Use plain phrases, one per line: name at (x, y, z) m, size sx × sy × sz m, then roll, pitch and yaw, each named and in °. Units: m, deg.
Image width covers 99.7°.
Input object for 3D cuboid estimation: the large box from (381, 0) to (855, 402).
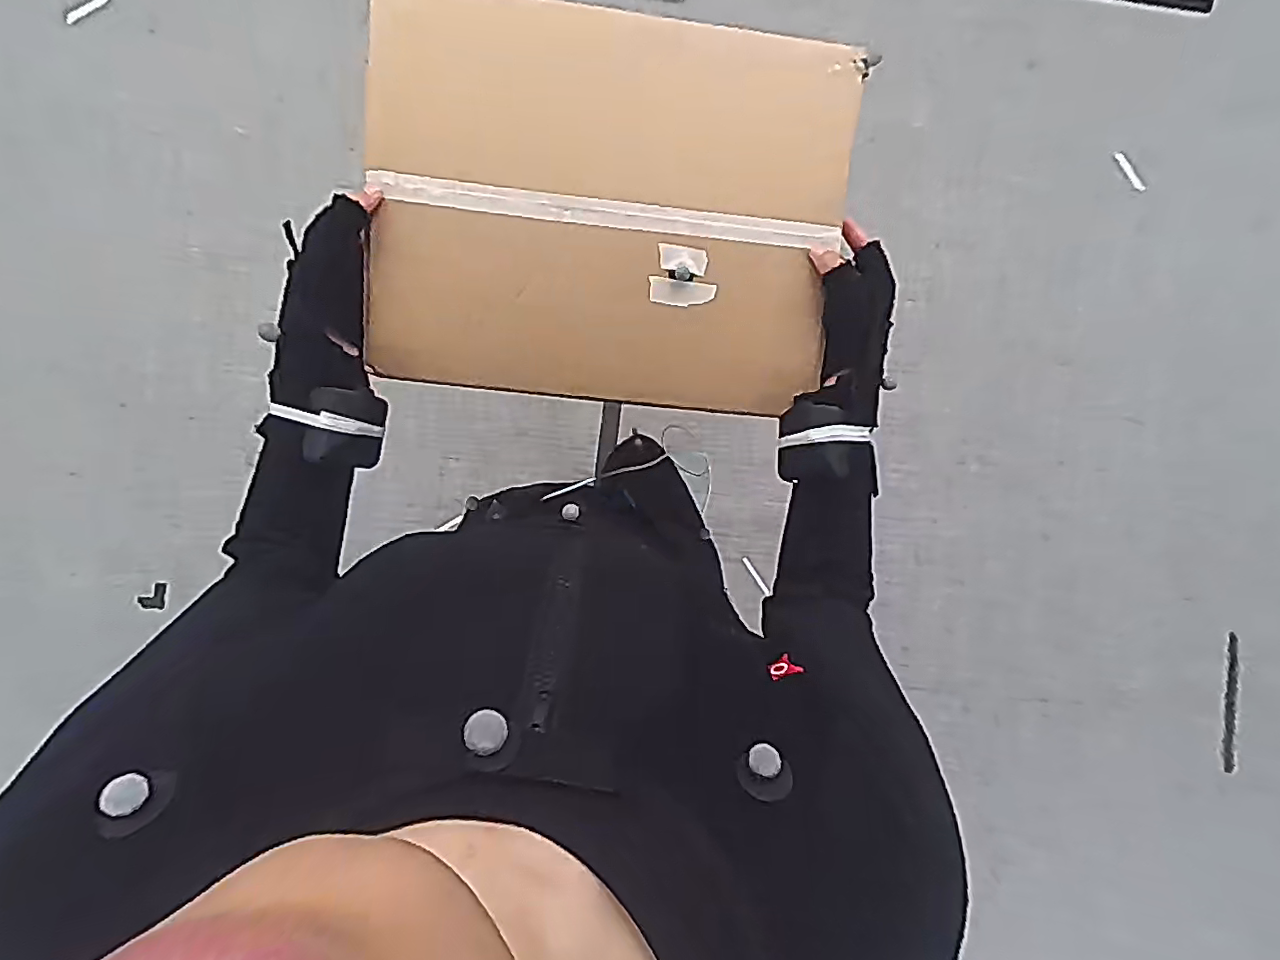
large box at (-0.033, -0.263, 0.624) m, size 0.408 × 0.320 × 0.320 m, roll 5°, pitch 100°, yaw -5°
